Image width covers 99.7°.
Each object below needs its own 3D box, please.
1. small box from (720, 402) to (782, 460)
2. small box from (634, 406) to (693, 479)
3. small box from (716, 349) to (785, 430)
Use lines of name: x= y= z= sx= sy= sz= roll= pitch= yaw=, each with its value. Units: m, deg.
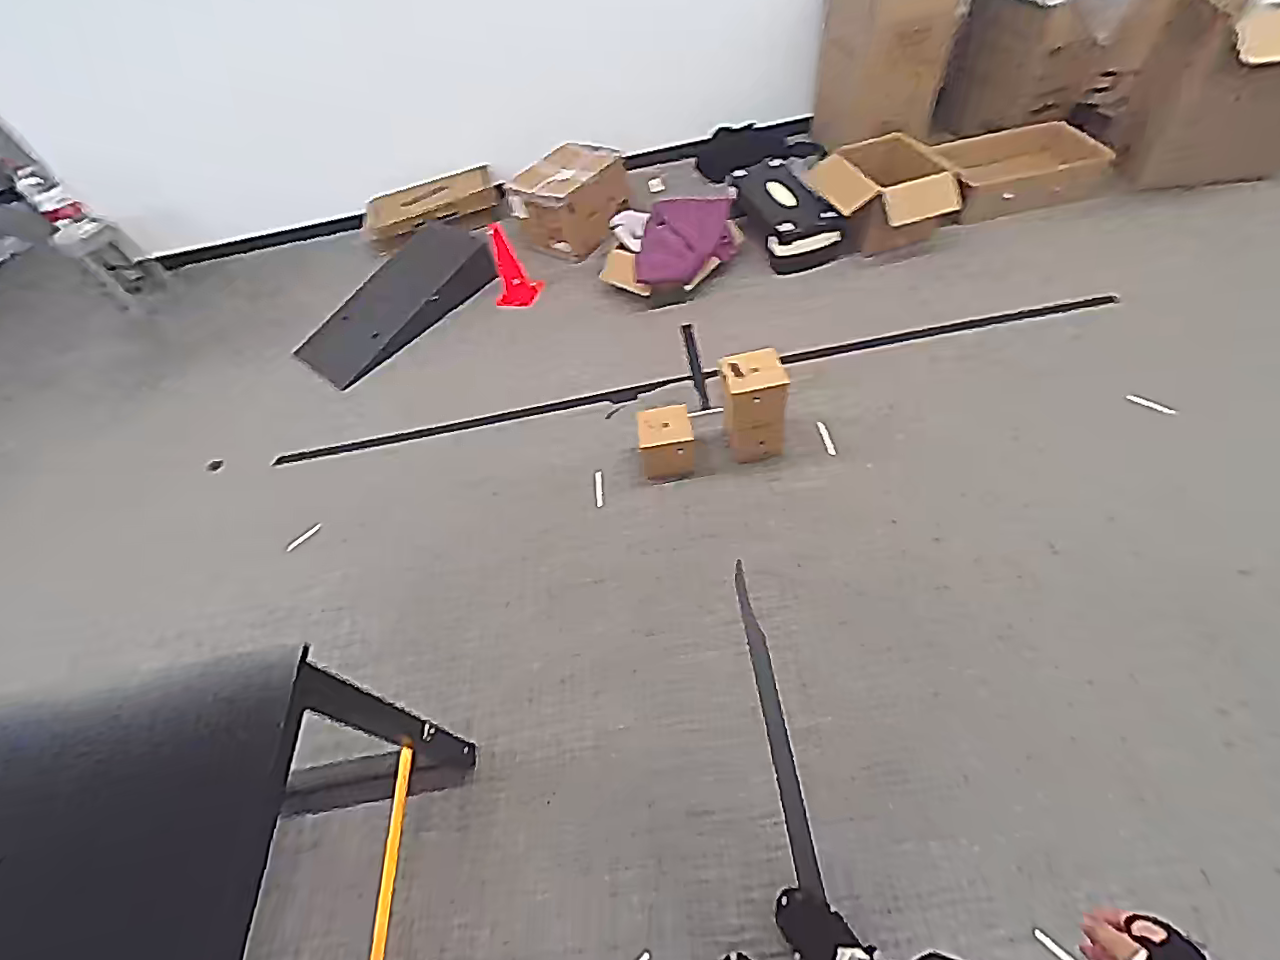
small box: x=0.375 y=-0.184 z=1.831 sx=0.168 sy=0.176 sz=0.179 roll=-12 pitch=53 yaw=1
small box: x=0.083 y=-0.125 z=1.838 sx=0.179 sy=0.176 sz=0.168 roll=-10 pitch=52 yaw=4
small box: x=0.344 y=-0.279 z=1.698 sx=0.179 sy=0.176 sz=0.168 roll=-12 pitch=52 yaw=1
